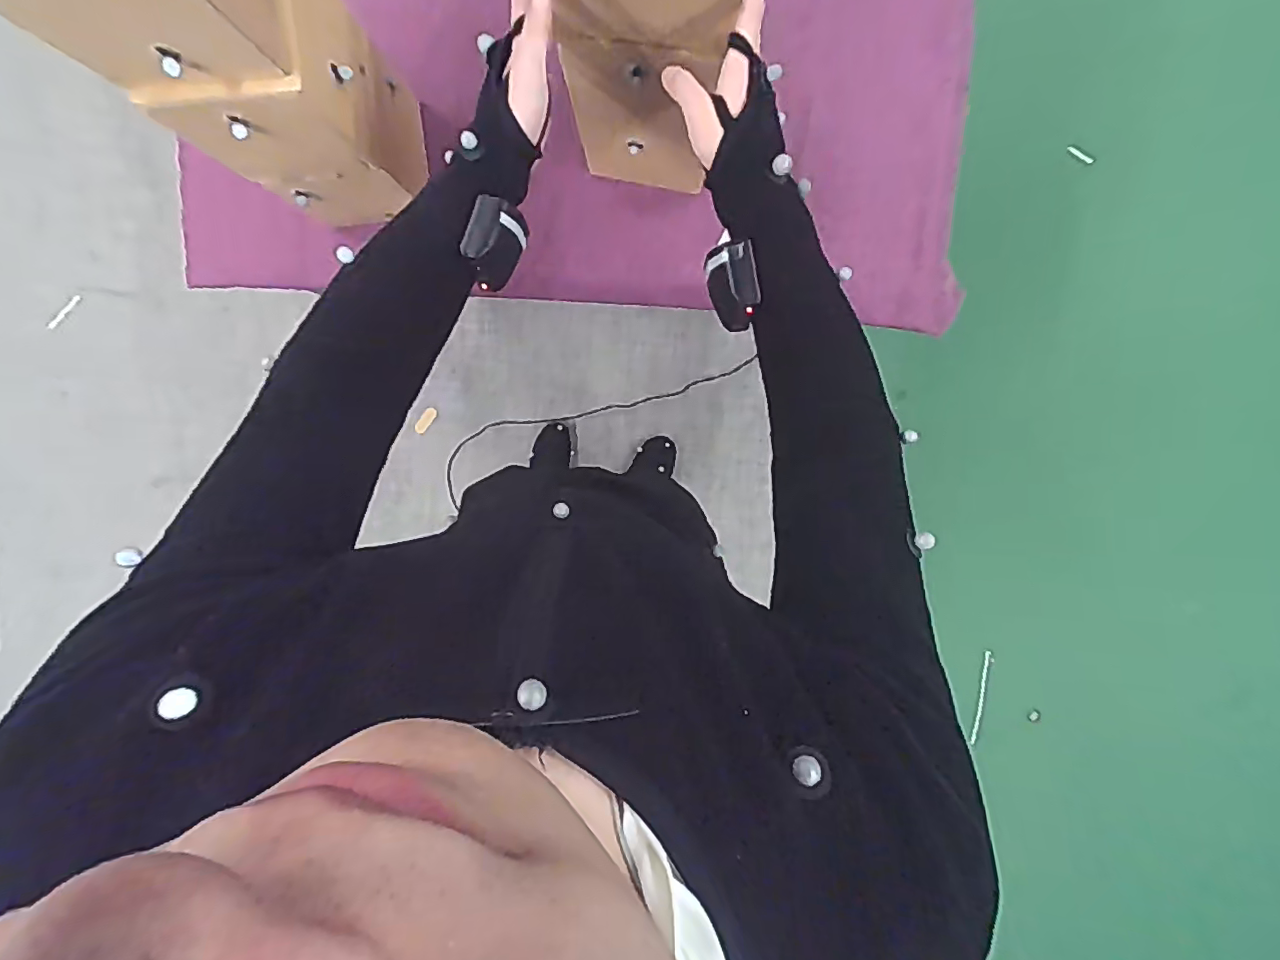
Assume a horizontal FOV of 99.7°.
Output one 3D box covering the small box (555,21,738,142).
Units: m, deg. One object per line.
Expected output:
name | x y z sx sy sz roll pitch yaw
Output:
small box | 0.018 -0.501 0.590 0.179 0.176 0.168 9 99 -1

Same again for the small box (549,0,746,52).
small box | 0.014 -0.478 0.421 0.179 0.176 0.168 8 98 1

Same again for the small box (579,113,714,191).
small box | 0.023 -0.527 0.751 0.179 0.176 0.168 10 98 -1

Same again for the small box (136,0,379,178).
small box | -0.414 -0.460 0.604 0.179 0.176 0.168 -3 97 2

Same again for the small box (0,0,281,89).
small box | -0.426 -0.455 0.439 0.179 0.176 0.168 -3 96 1
